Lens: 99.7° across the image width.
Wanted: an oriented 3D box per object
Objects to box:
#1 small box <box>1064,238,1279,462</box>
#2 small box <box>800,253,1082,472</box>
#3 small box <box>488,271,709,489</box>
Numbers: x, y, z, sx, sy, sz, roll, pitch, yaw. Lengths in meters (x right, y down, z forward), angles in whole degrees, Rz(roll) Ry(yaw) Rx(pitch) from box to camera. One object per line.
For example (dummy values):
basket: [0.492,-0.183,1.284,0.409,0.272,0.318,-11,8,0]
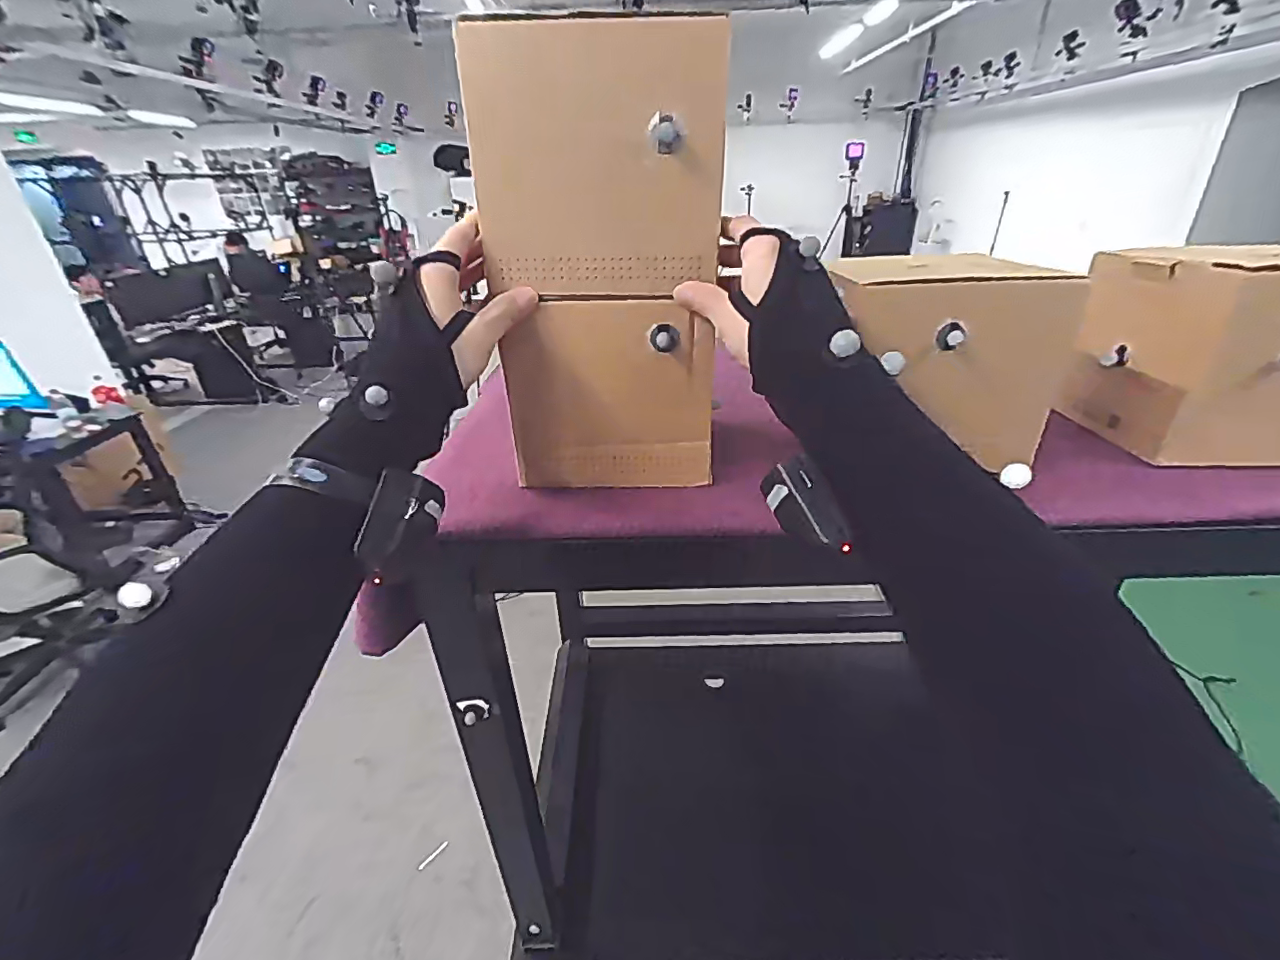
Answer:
small box: [0.539,-0.123,0.502,0.179,0.176,0.168,-1,28,5]
small box: [0.255,-0.114,0.515,0.179,0.176,0.168,-1,28,4]
small box: [-0.025,-0.099,0.520,0.179,0.176,0.168,-1,28,3]
